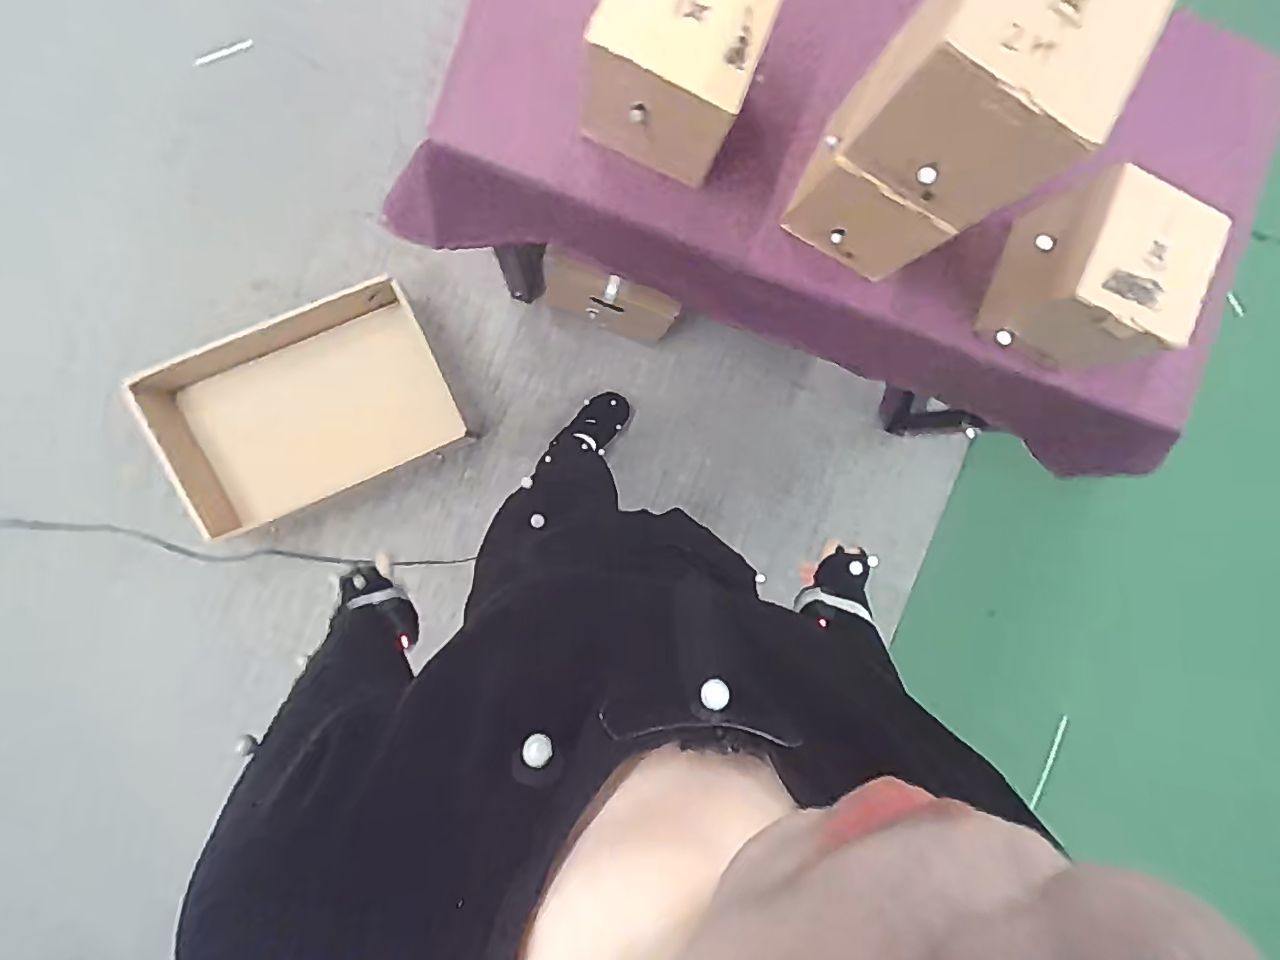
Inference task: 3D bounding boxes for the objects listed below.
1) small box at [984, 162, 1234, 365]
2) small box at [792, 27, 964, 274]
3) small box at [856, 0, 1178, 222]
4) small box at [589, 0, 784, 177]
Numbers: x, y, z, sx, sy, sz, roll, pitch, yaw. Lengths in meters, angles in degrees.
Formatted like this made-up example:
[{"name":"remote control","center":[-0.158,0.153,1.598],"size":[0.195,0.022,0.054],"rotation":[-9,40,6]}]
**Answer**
[{"name":"small box","center":[0.614,-0.273,0.733],"size":[0.168,0.176,0.179],"rotation":[22,89,-8]},{"name":"small box","center":[0.322,-0.400,0.691],"size":[0.168,0.176,0.179],"rotation":[27,90,-8]},{"name":"small box","center":[0.347,-0.397,0.528],"size":[0.168,0.176,0.179],"rotation":[28,90,-7]},{"name":"small box","center":[0.047,-0.504,0.648],"size":[0.179,0.176,0.168],"rotation":[22,91,-7]}]
